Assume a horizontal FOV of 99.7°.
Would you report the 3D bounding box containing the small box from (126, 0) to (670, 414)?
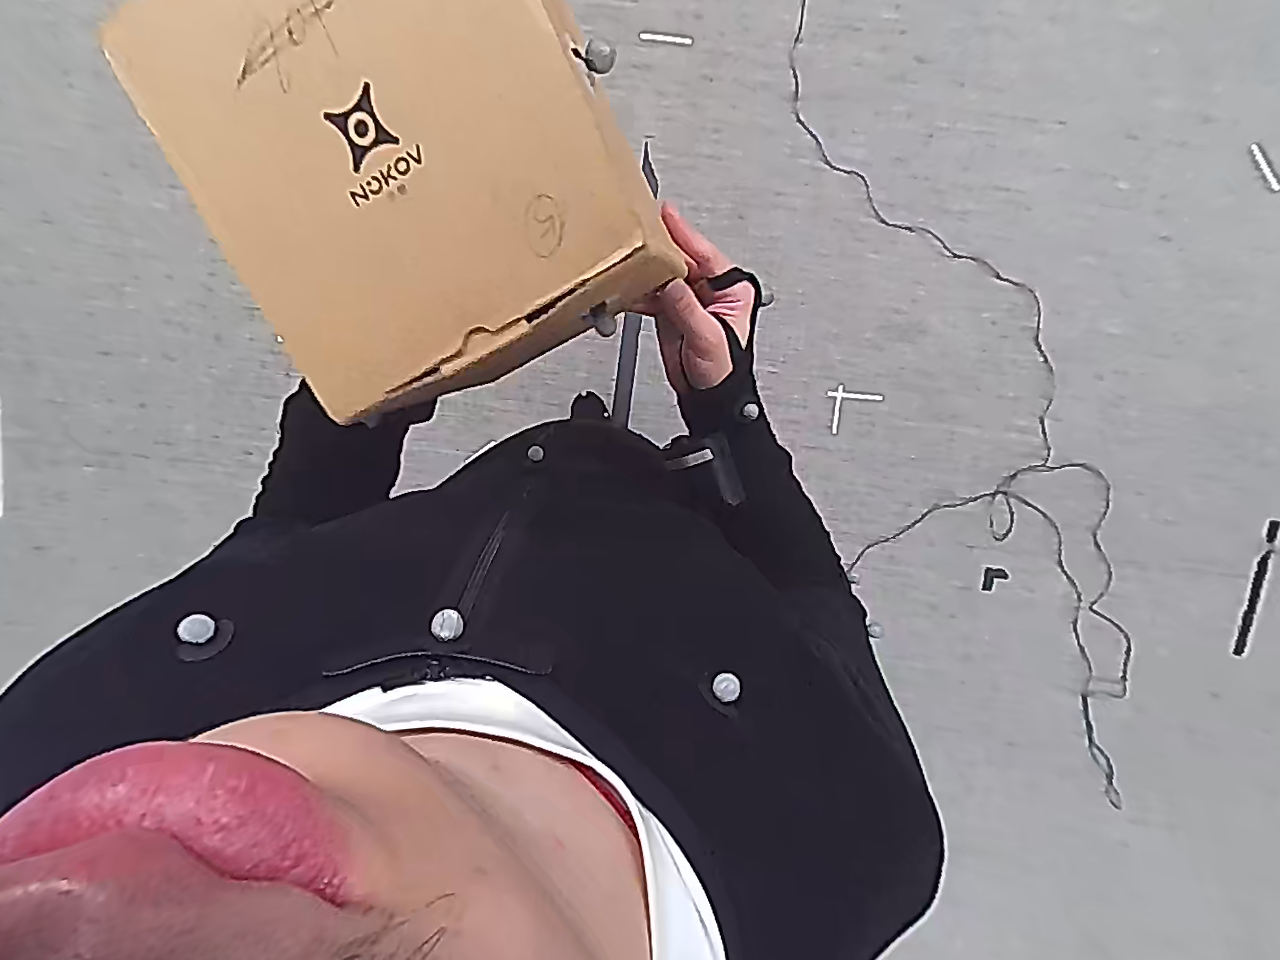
[{"bbox_3d":[-0.094,-0.161,0.298,0.168,0.176,0.179,-25,101,15],"label":"small box"}]
